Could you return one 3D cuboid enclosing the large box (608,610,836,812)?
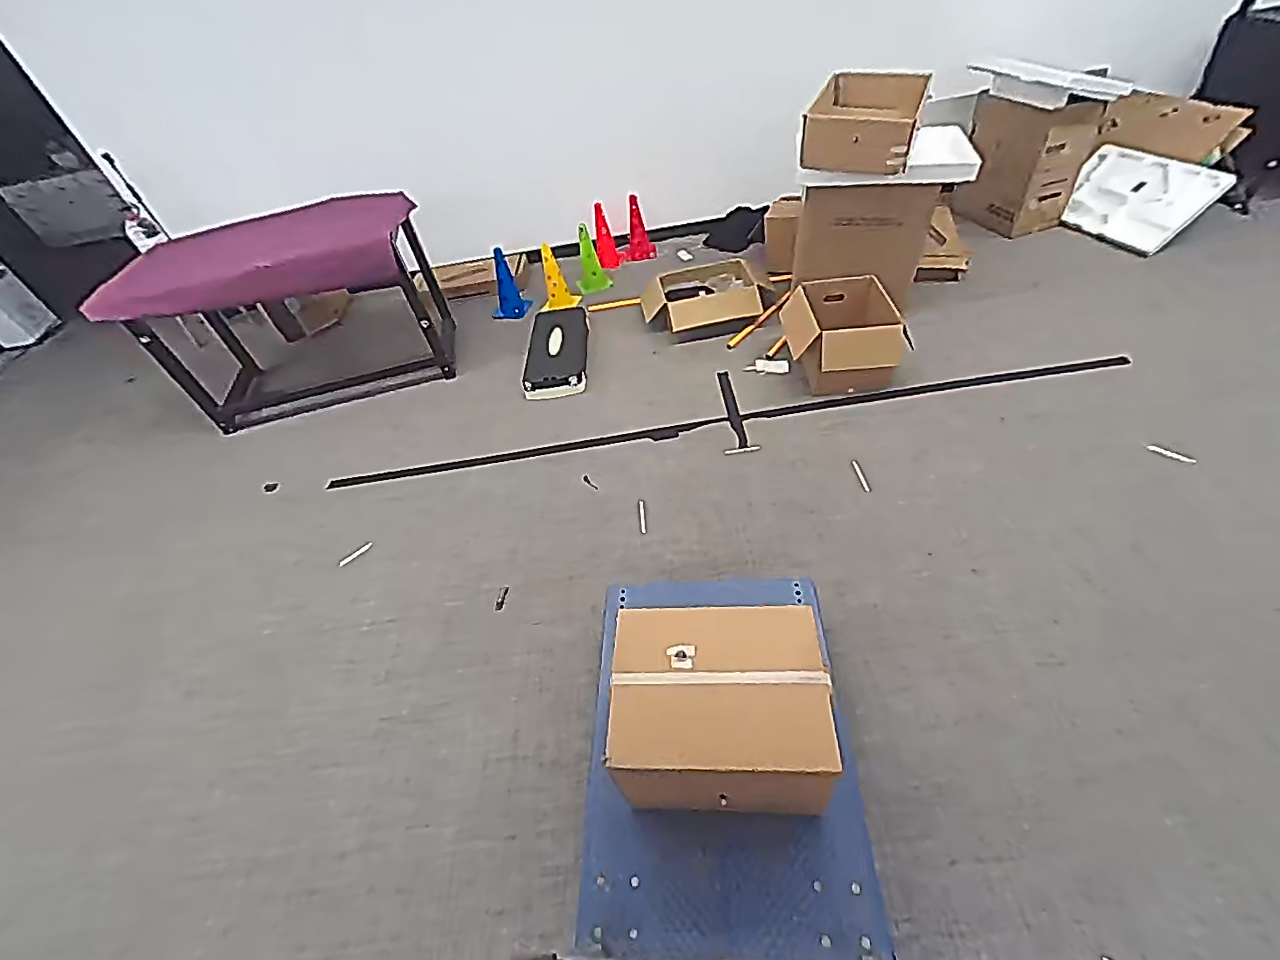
[{"bbox_3d":[0.167,0.498,1.148,0.408,0.320,0.320,-4,45,8],"label":"large box"}]
